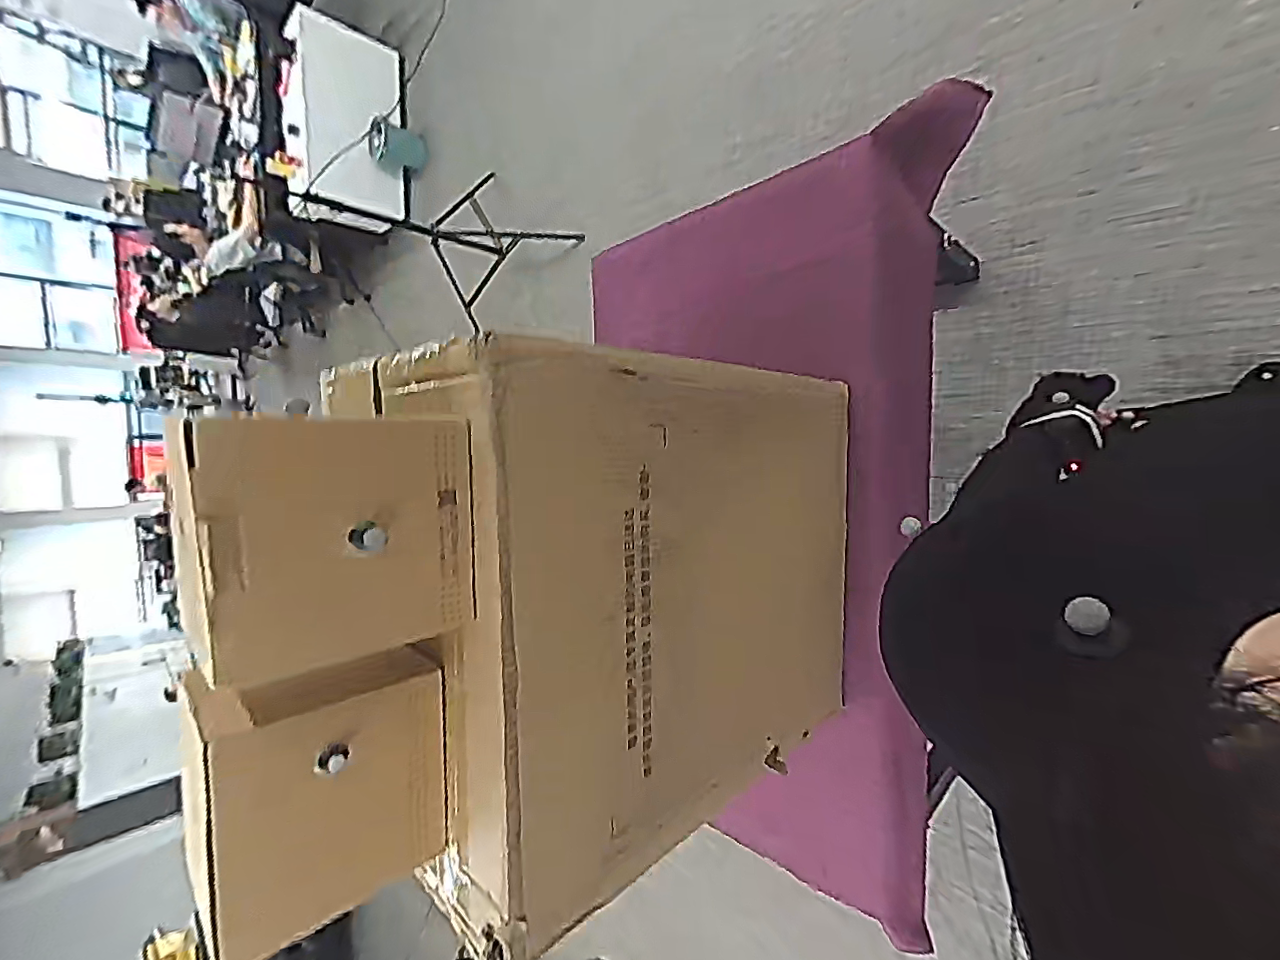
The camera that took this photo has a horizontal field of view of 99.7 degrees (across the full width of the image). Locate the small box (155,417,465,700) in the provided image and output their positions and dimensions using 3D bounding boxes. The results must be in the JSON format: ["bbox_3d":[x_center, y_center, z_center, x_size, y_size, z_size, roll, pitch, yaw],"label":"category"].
[{"bbox_3d":[-0.248,0.035,0.420,0.179,0.176,0.168,6,99,45],"label":"small box"}]

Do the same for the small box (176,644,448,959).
[{"bbox_3d":[-0.282,0.253,0.472,0.168,0.176,0.179,3,96,46],"label":"small box"}]
